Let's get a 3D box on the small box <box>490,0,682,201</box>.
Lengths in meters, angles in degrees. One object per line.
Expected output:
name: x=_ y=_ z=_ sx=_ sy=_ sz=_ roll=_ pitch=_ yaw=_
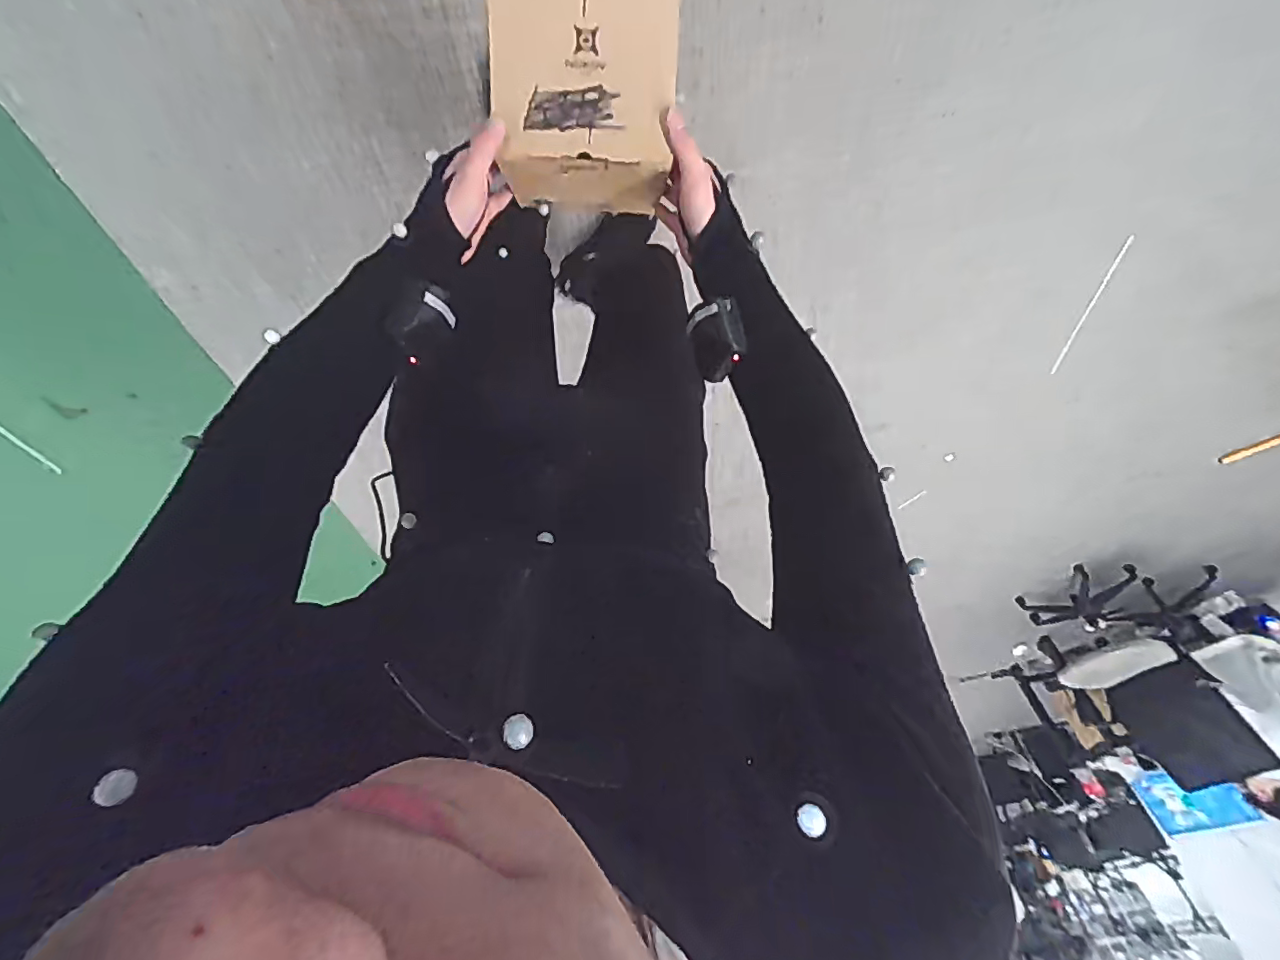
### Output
small box: x=-0.051 y=-0.396 z=0.542 sx=0.168 sy=0.176 sz=0.179 roll=1 pitch=102 yaw=-4
